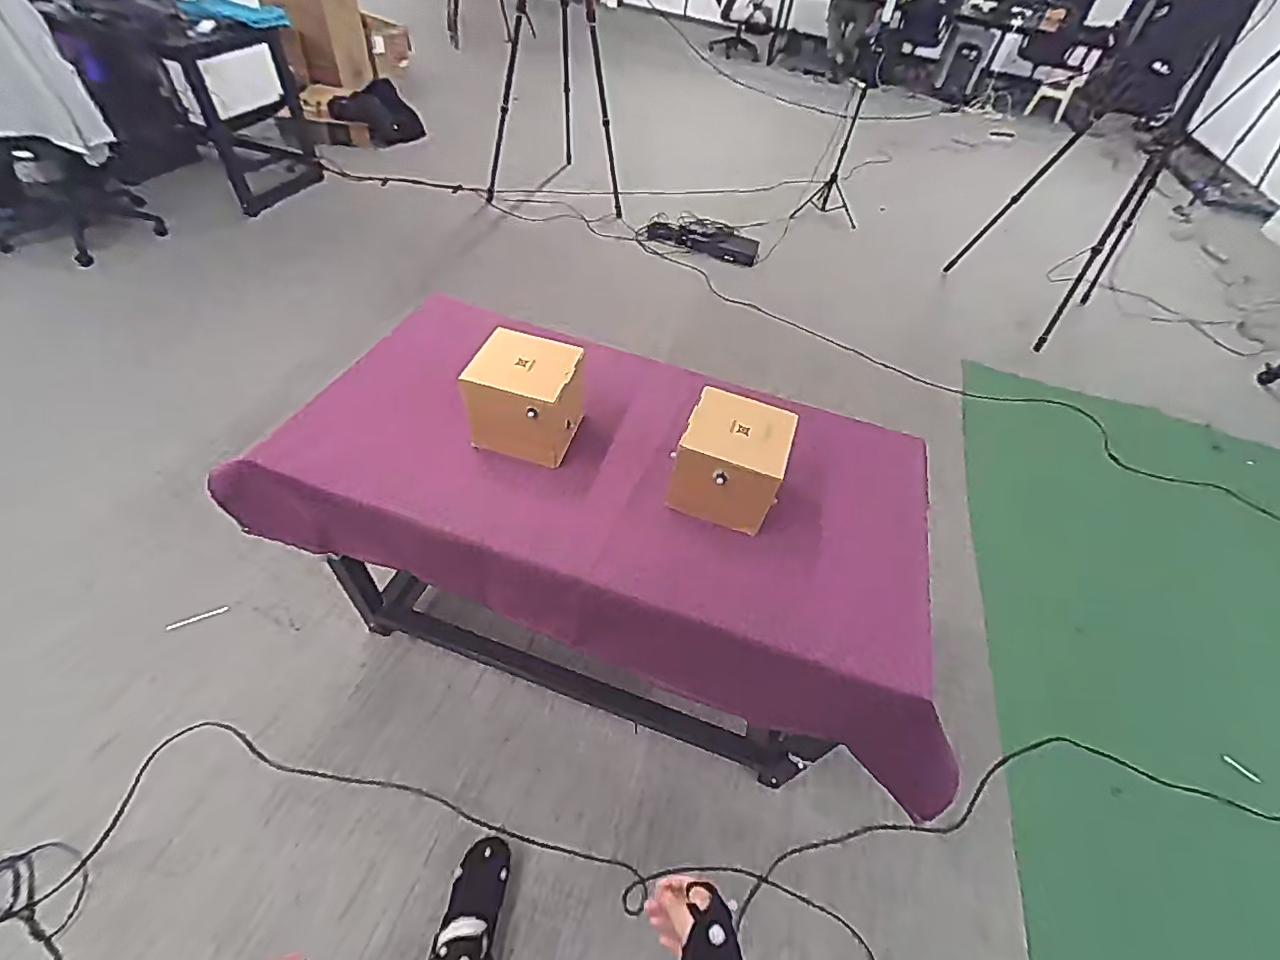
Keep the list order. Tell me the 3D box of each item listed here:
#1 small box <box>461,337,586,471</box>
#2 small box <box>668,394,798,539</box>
[{"bbox_3d":[-0.213,-0.140,1.025,0.179,0.176,0.168,15,49,4],"label":"small box"},{"bbox_3d":[0.161,-0.021,0.971,0.179,0.176,0.168,20,50,8],"label":"small box"}]
